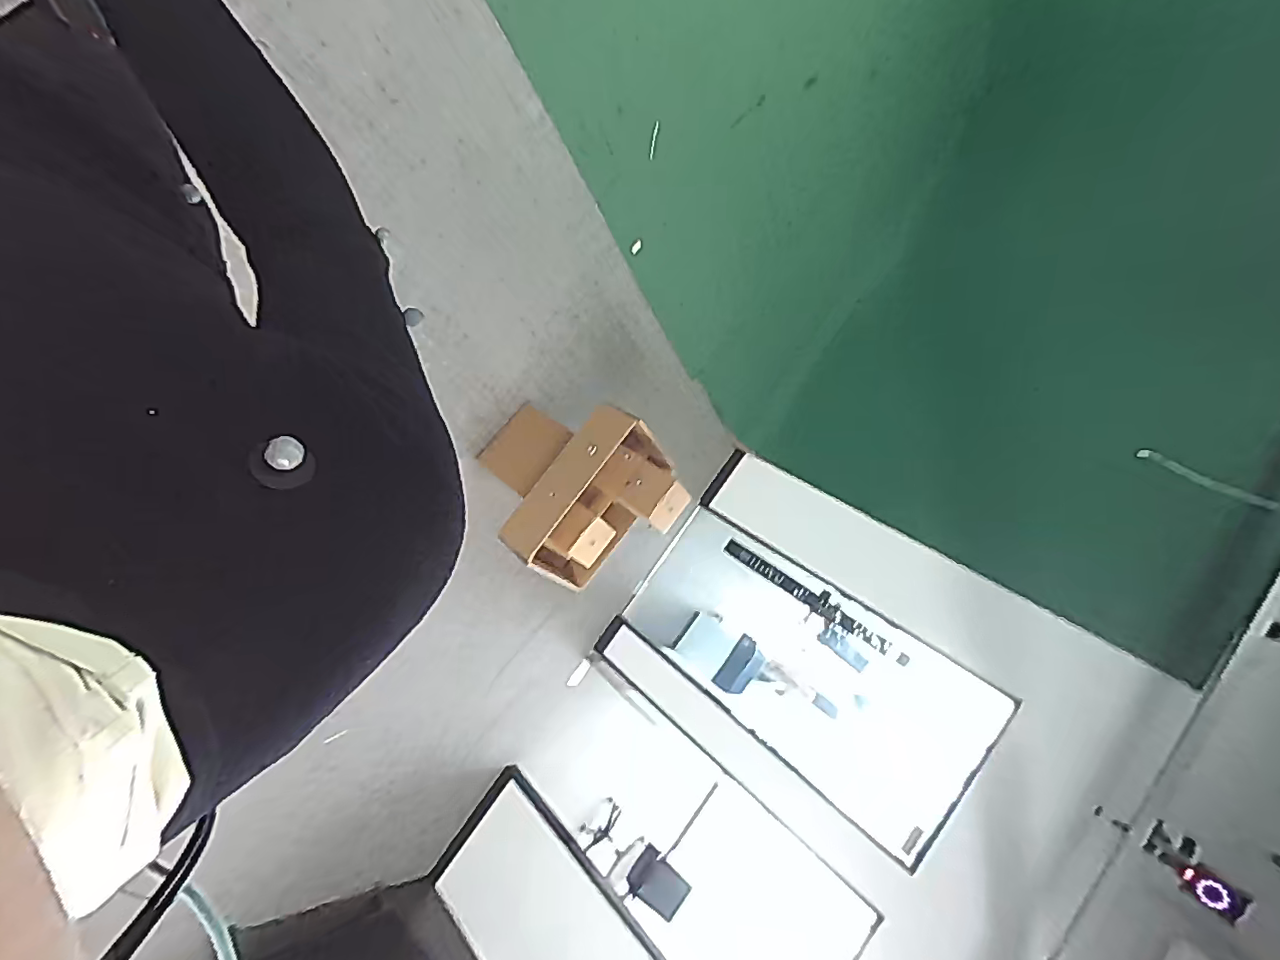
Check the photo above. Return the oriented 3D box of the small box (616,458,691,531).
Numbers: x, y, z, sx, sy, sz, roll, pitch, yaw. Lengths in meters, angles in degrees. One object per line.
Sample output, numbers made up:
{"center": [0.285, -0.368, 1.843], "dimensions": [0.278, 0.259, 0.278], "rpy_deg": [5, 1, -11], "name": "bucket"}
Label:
{"center": [0.047, 0.048, 1.907], "dimensions": [0.168, 0.176, 0.179], "rpy_deg": [-53, 148, -7], "name": "small box"}
